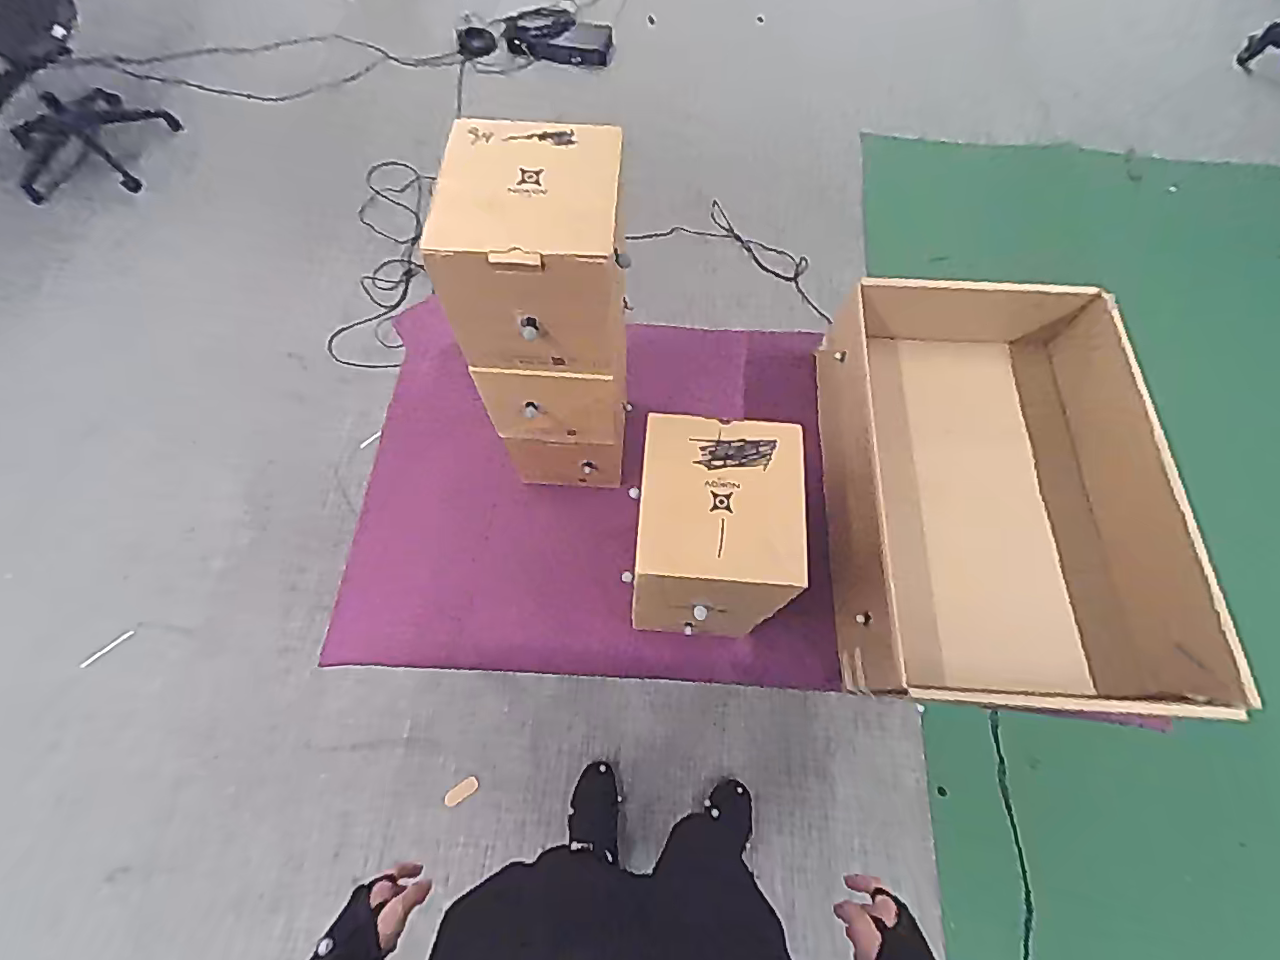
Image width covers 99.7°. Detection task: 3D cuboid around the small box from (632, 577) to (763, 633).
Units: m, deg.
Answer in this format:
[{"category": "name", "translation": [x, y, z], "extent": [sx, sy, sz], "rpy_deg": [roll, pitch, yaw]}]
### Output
[{"category": "small box", "translation": [0.079, 0.114, 0.767], "extent": [0.168, 0.176, 0.179], "rpy_deg": [5, 66, 1]}]

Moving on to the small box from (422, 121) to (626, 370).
[{"category": "small box", "translation": [-0.102, -0.233, 0.565], "extent": [0.168, 0.176, 0.179], "rpy_deg": [3, 67, 0]}]

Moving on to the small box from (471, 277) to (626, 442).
[{"category": "small box", "translation": [-0.106, -0.164, 0.714], "extent": [0.168, 0.176, 0.179], "rpy_deg": [4, 66, 0]}]

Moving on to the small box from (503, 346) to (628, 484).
[{"category": "small box", "translation": [-0.107, -0.104, 0.864], "extent": [0.168, 0.176, 0.179], "rpy_deg": [4, 66, 0]}]

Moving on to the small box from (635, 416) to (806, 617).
[{"category": "small box", "translation": [0.082, 0.048, 0.618], "extent": [0.168, 0.176, 0.179], "rpy_deg": [4, 66, 2]}]
